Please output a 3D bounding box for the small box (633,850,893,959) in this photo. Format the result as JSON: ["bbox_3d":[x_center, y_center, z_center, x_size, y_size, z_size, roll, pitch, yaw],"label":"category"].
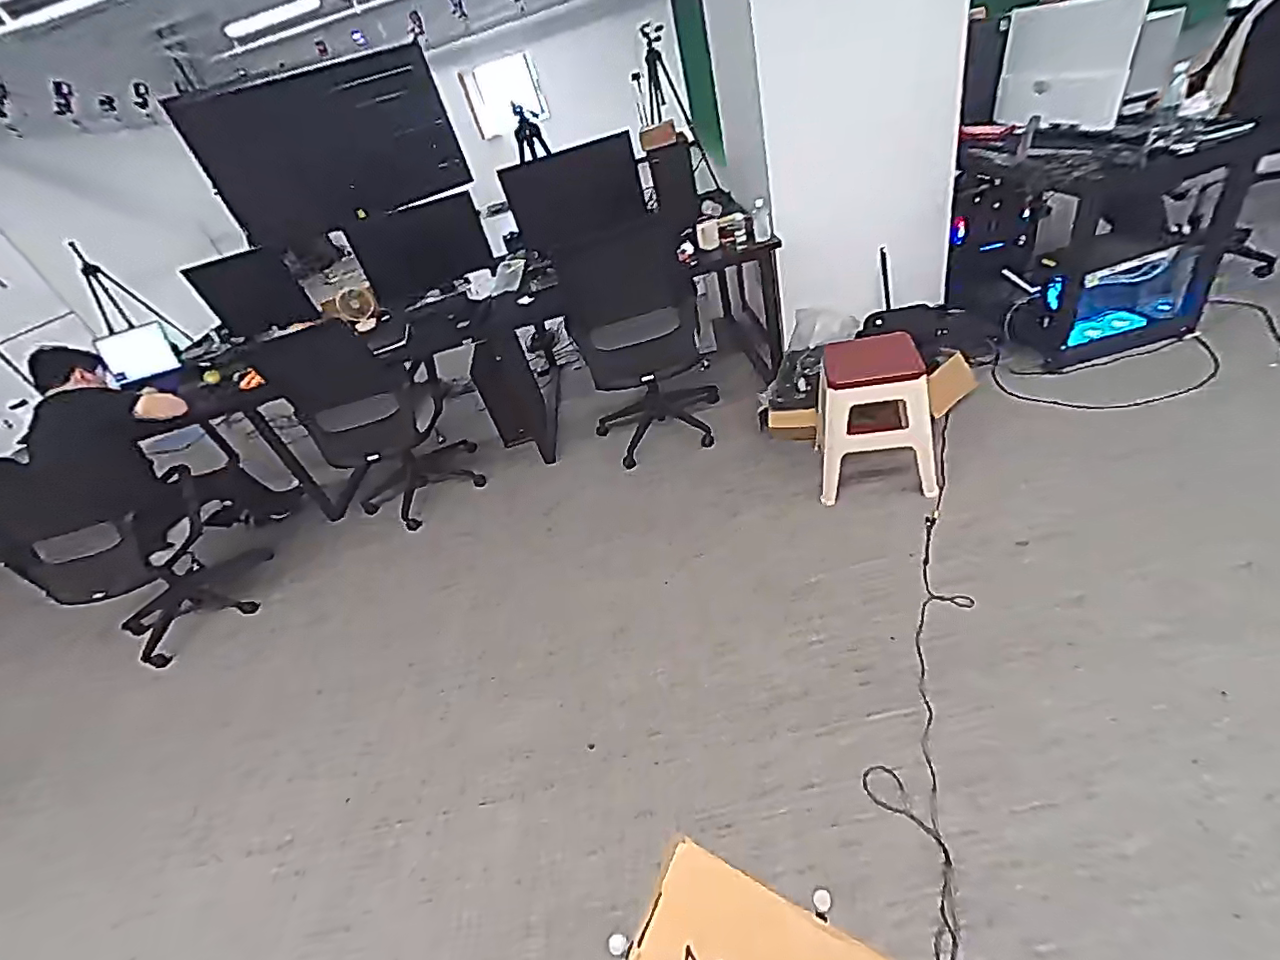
[{"bbox_3d":[0.073,0.354,0.332,0.179,0.176,0.168,21,60,16],"label":"small box"}]
